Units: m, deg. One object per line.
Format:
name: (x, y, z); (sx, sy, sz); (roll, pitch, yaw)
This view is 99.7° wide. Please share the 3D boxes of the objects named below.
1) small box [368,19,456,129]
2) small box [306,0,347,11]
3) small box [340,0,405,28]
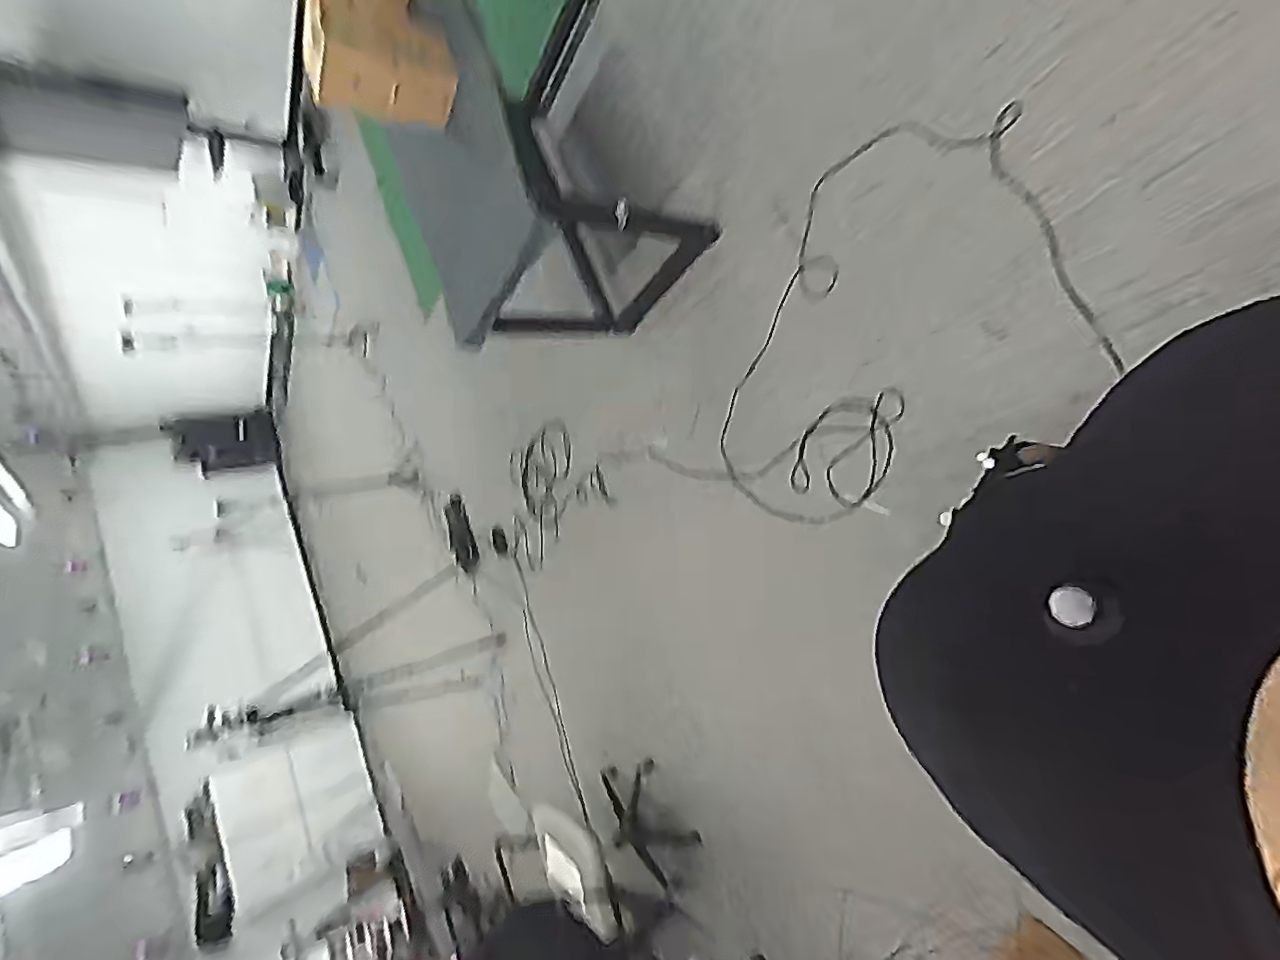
small box: (-0.636, -1.121, 1.513); (0.168, 0.176, 0.179); (-32, 77, 49)
small box: (-0.912, -1.444, 1.480); (0.168, 0.176, 0.179); (-40, 72, 50)
small box: (-0.794, -1.487, 1.583); (0.179, 0.176, 0.168); (-27, 81, 50)
